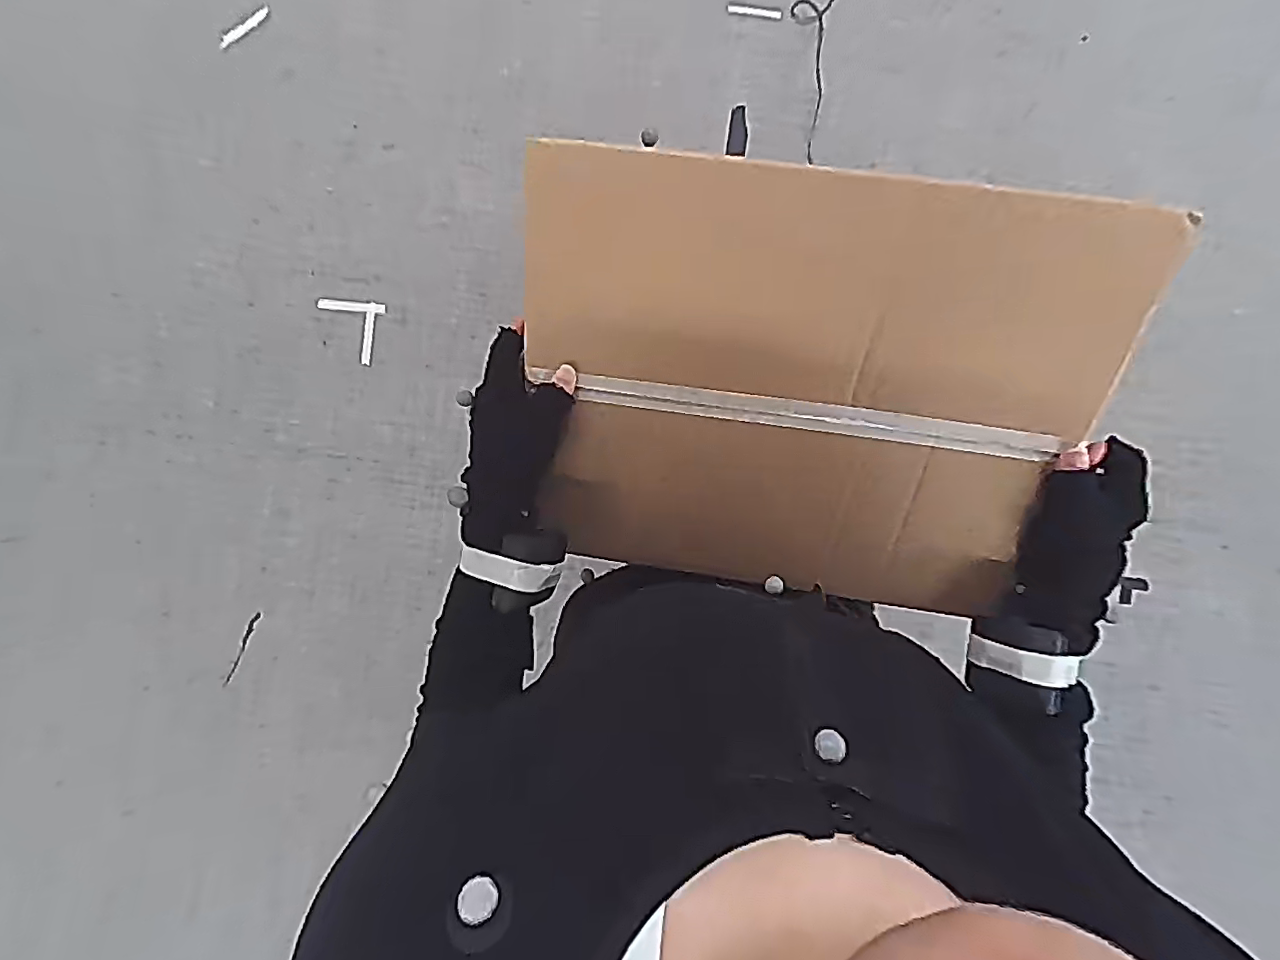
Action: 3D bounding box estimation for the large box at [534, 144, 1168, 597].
[{"bbox_3d":[0.129,-0.125,0.541,0.408,0.320,0.320,8,119,4],"label":"large box"}]
